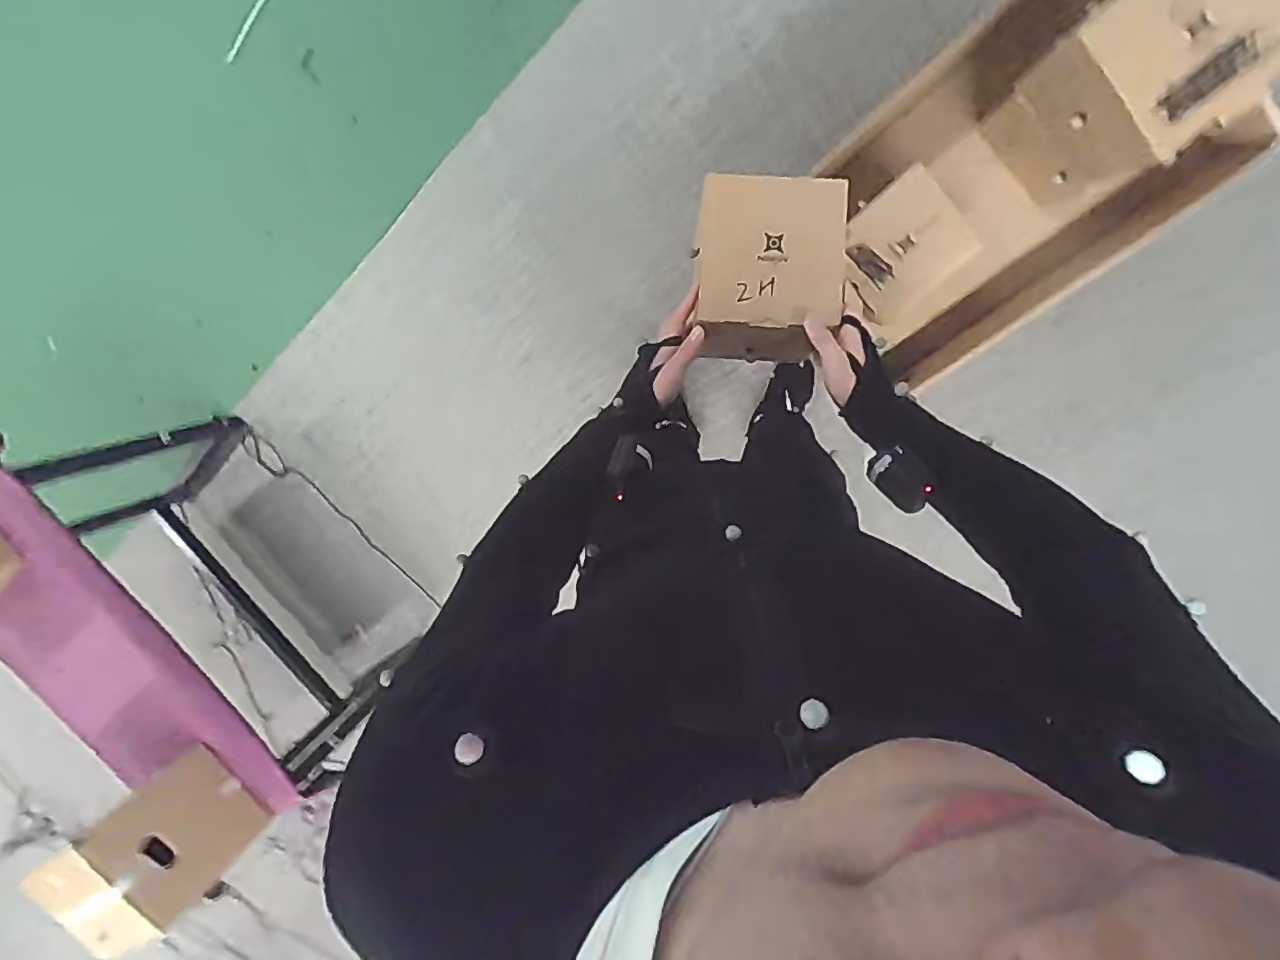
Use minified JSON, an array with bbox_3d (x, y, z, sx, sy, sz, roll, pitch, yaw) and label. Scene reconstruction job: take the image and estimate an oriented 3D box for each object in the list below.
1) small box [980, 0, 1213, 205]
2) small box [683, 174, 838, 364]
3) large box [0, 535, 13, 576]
[{"bbox_3d":[0.649,-0.538,0.797,0.168,0.176,0.179,-40,96,22],"label":"small box"},{"bbox_3d":[0.143,-0.259,0.696,0.168,0.176,0.179,2,89,2],"label":"small box"},{"bbox_3d":[-1.917,0.227,1.339,0.408,0.320,0.320,-32,100,22],"label":"large box"}]
